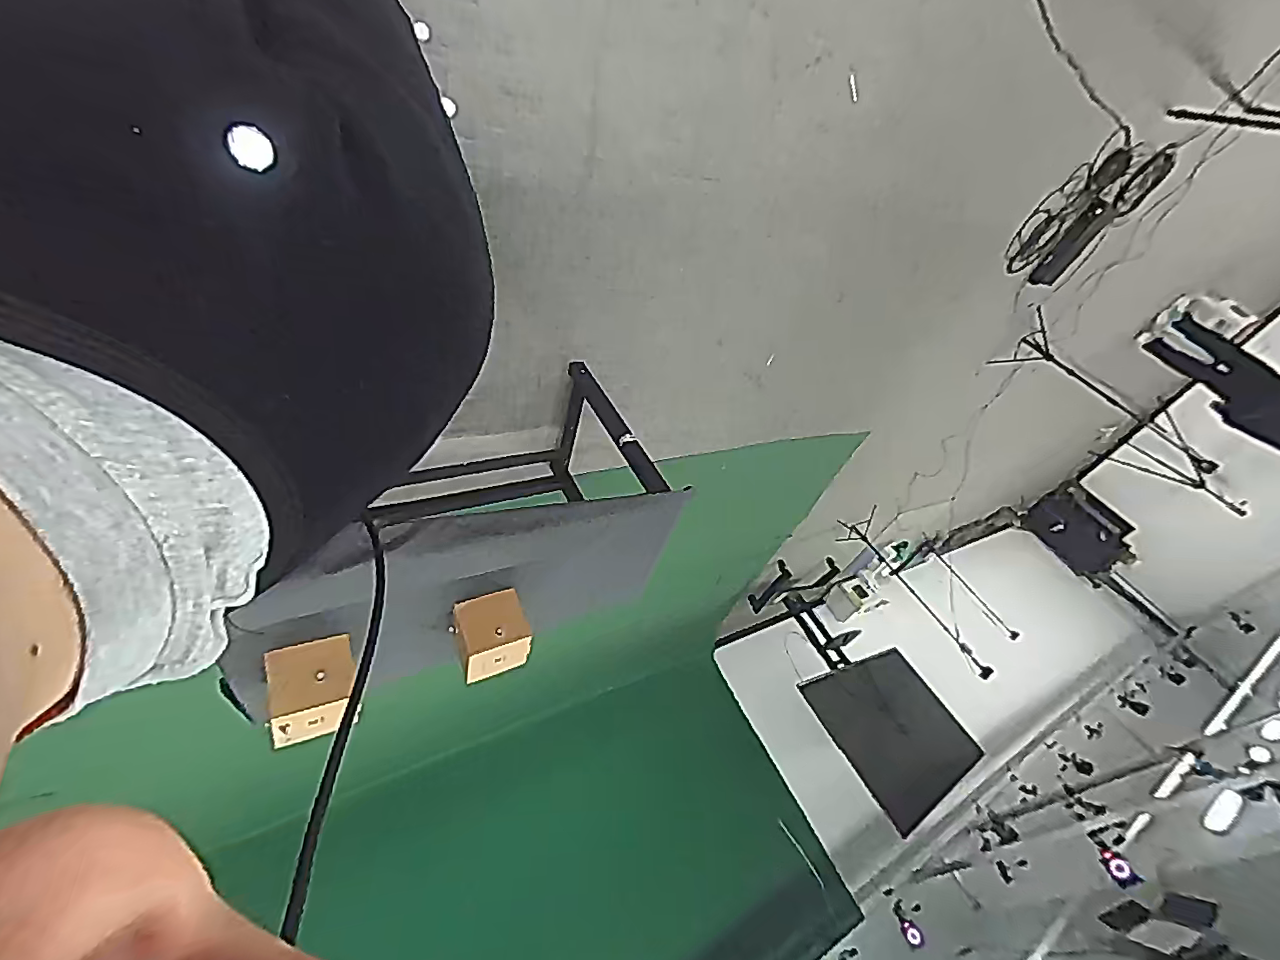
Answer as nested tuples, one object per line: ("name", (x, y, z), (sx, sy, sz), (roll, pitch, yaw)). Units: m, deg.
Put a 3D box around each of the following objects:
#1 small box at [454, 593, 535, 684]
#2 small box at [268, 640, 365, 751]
("small box", (-0.419, 0.445, 1.540), (0.179, 0.176, 0.168), (-11, 140, -29))
("small box", (-0.783, 0.514, 1.310), (0.179, 0.176, 0.168), (-8, 139, -35))
